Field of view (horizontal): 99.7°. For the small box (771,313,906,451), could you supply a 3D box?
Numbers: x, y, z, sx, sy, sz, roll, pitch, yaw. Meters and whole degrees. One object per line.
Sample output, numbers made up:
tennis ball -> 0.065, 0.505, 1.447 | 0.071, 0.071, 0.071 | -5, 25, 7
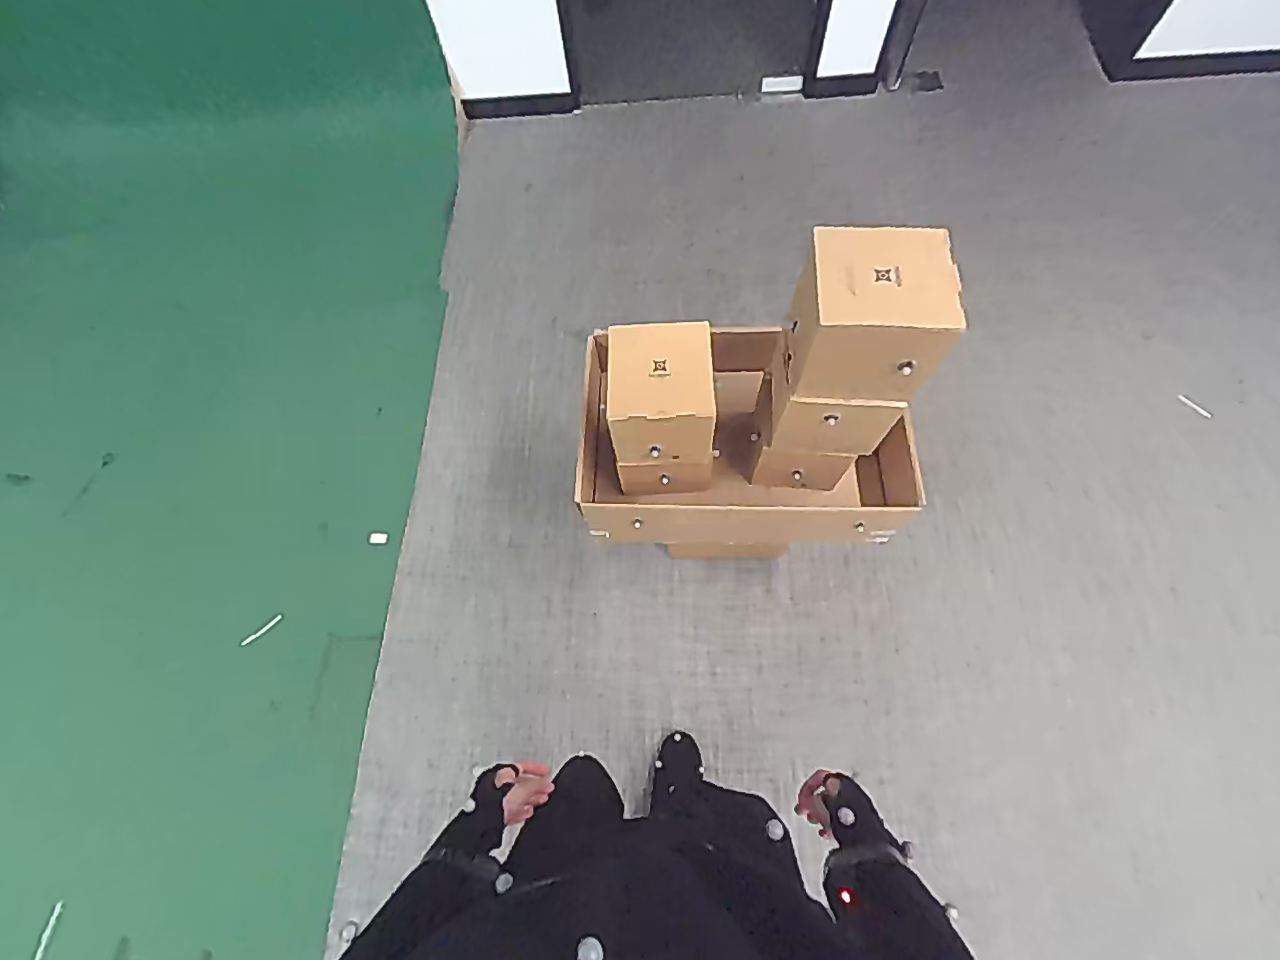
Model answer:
small box -> 0.316, -0.157, 0.901 | 0.179, 0.176, 0.168 | 4, 67, 5

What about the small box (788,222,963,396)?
small box -> 0.312, -0.230, 0.755 | 0.179, 0.176, 0.168 | 3, 66, 6
